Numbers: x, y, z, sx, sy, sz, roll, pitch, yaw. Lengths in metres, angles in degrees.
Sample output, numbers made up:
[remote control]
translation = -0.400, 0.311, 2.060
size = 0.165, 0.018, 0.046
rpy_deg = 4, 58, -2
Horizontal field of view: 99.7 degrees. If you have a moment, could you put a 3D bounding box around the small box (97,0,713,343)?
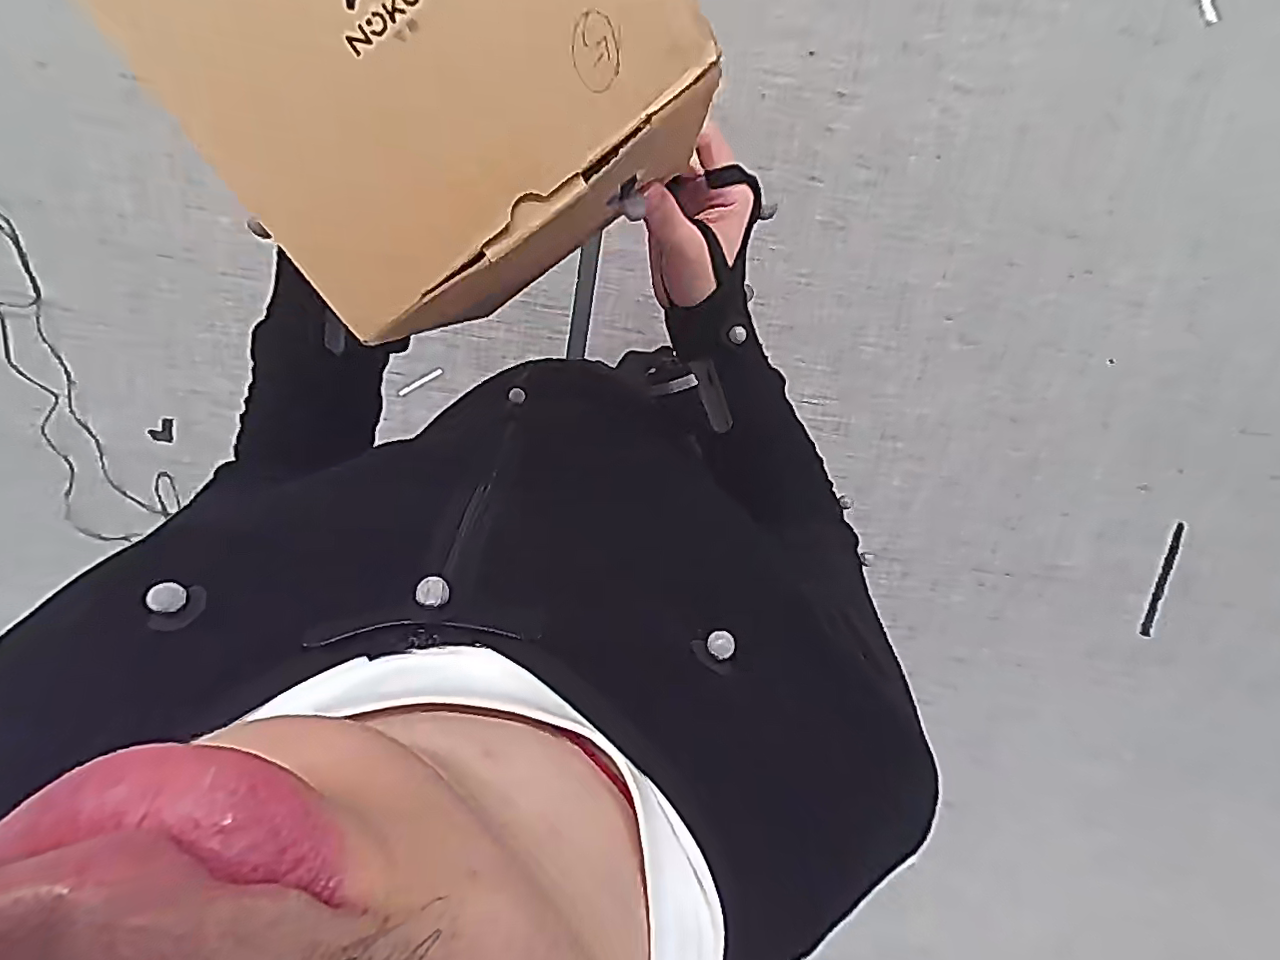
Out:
[small box]
translation = -0.085, -0.192, 0.256
size = 0.168, 0.176, 0.179
rpy_deg = -33, 106, 12
